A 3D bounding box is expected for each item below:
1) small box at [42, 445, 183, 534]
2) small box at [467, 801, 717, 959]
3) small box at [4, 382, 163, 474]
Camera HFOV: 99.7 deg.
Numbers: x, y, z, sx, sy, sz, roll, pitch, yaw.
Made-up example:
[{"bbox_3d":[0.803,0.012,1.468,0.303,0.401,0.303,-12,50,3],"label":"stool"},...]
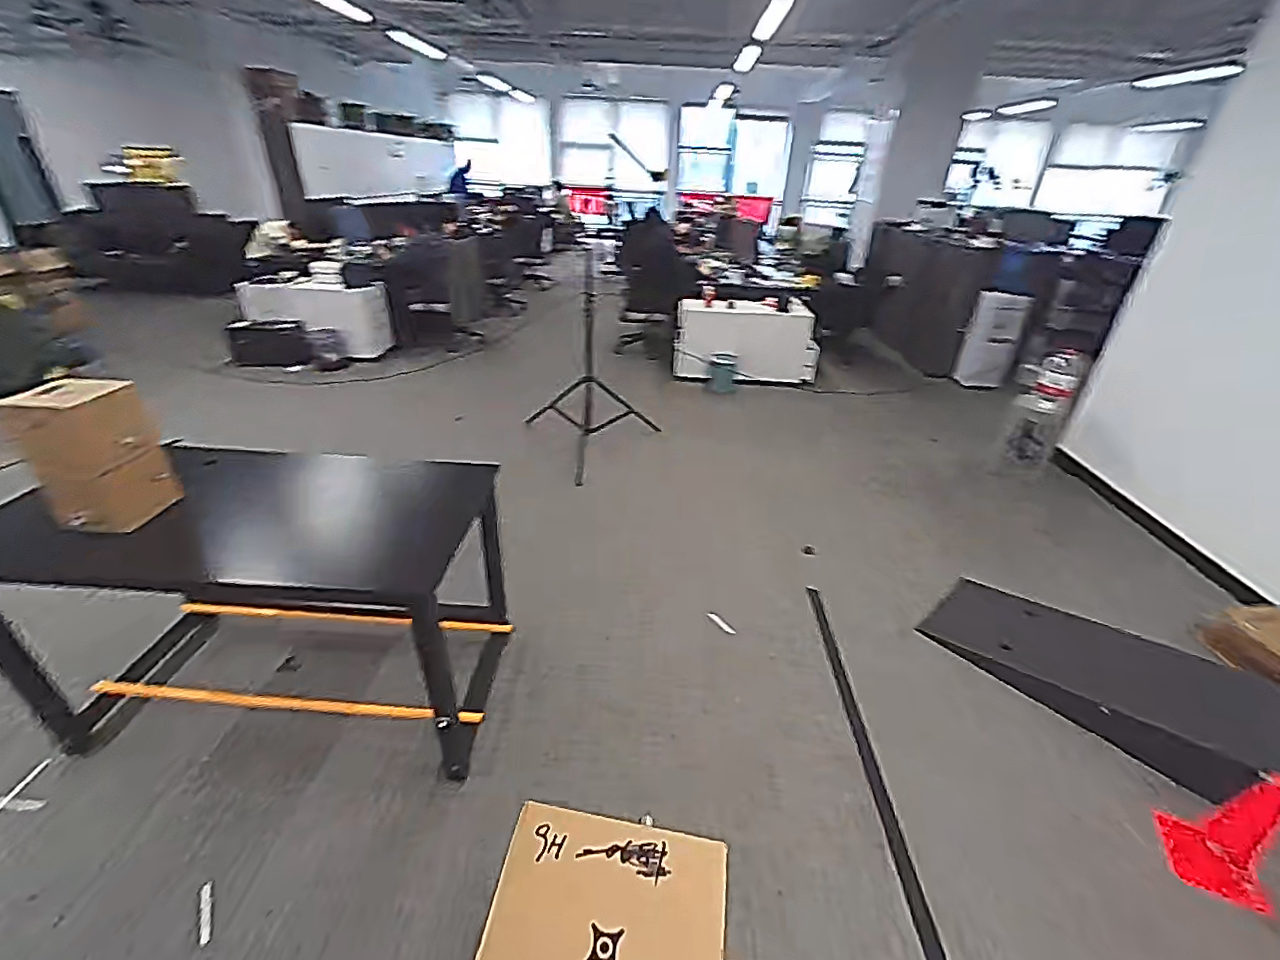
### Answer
[{"bbox_3d":[-1.314,0.017,1.369,0.168,0.176,0.179,3,30,2],"label":"small box"},{"bbox_3d":[-0.038,0.384,0.413,0.168,0.176,0.179,8,40,4],"label":"small box"},{"bbox_3d":[-1.308,-0.125,1.286,0.179,0.176,0.168,3,30,1],"label":"small box"}]
